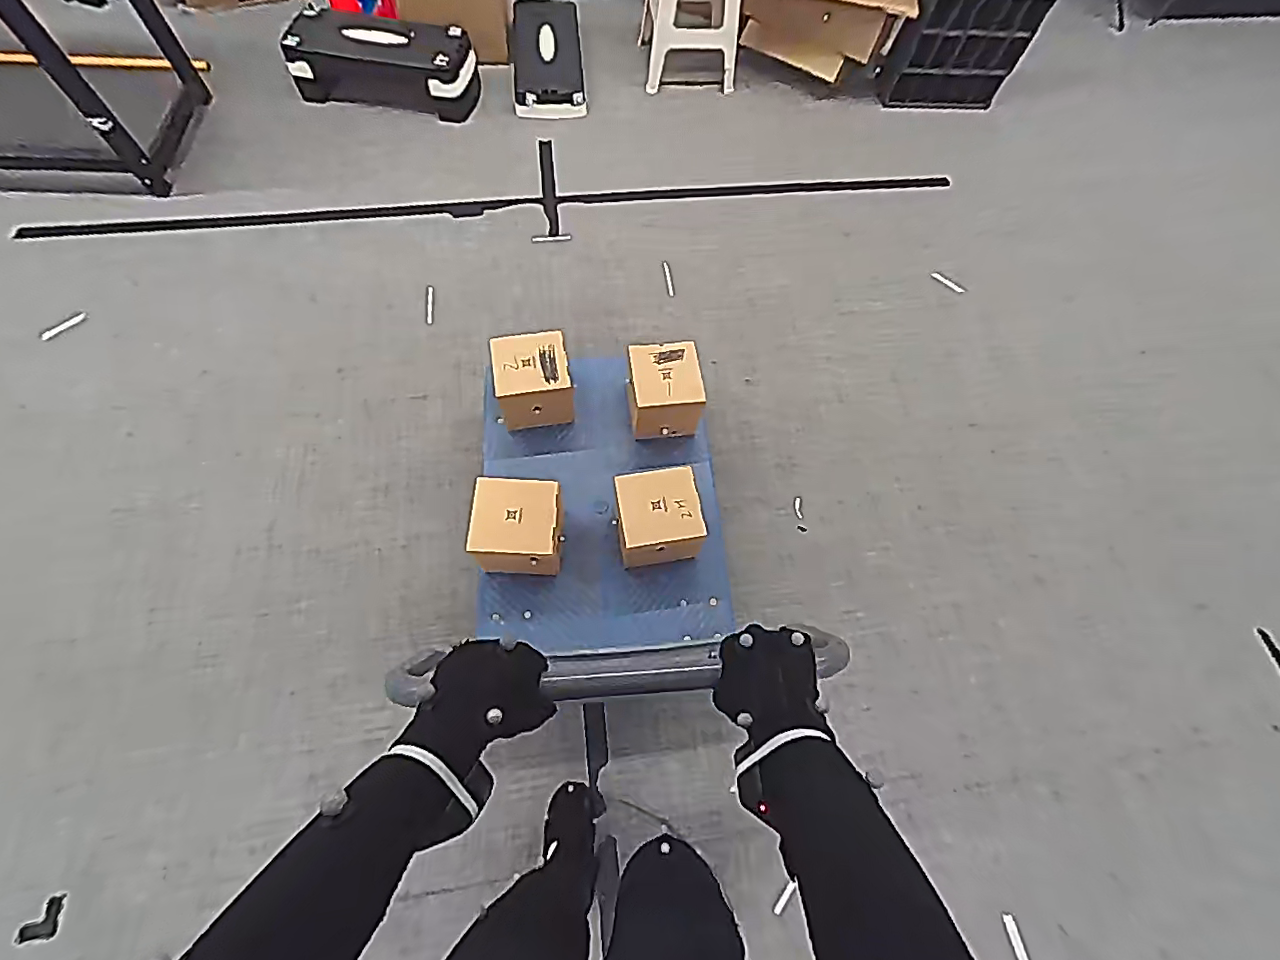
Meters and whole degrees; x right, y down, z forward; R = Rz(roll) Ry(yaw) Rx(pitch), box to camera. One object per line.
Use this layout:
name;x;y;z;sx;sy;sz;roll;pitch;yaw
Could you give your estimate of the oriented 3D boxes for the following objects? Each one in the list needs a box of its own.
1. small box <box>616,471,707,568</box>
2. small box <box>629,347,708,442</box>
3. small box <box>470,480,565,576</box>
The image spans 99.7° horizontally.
small box;0.041;0.095;1.232;0.179;0.176;0.168;-8;68;-7
small box;0.064;-0.213;1.367;0.168;0.176;0.179;-5;68;-6
small box;-0.263;0.112;1.204;0.179;0.176;0.168;3;66;-4
